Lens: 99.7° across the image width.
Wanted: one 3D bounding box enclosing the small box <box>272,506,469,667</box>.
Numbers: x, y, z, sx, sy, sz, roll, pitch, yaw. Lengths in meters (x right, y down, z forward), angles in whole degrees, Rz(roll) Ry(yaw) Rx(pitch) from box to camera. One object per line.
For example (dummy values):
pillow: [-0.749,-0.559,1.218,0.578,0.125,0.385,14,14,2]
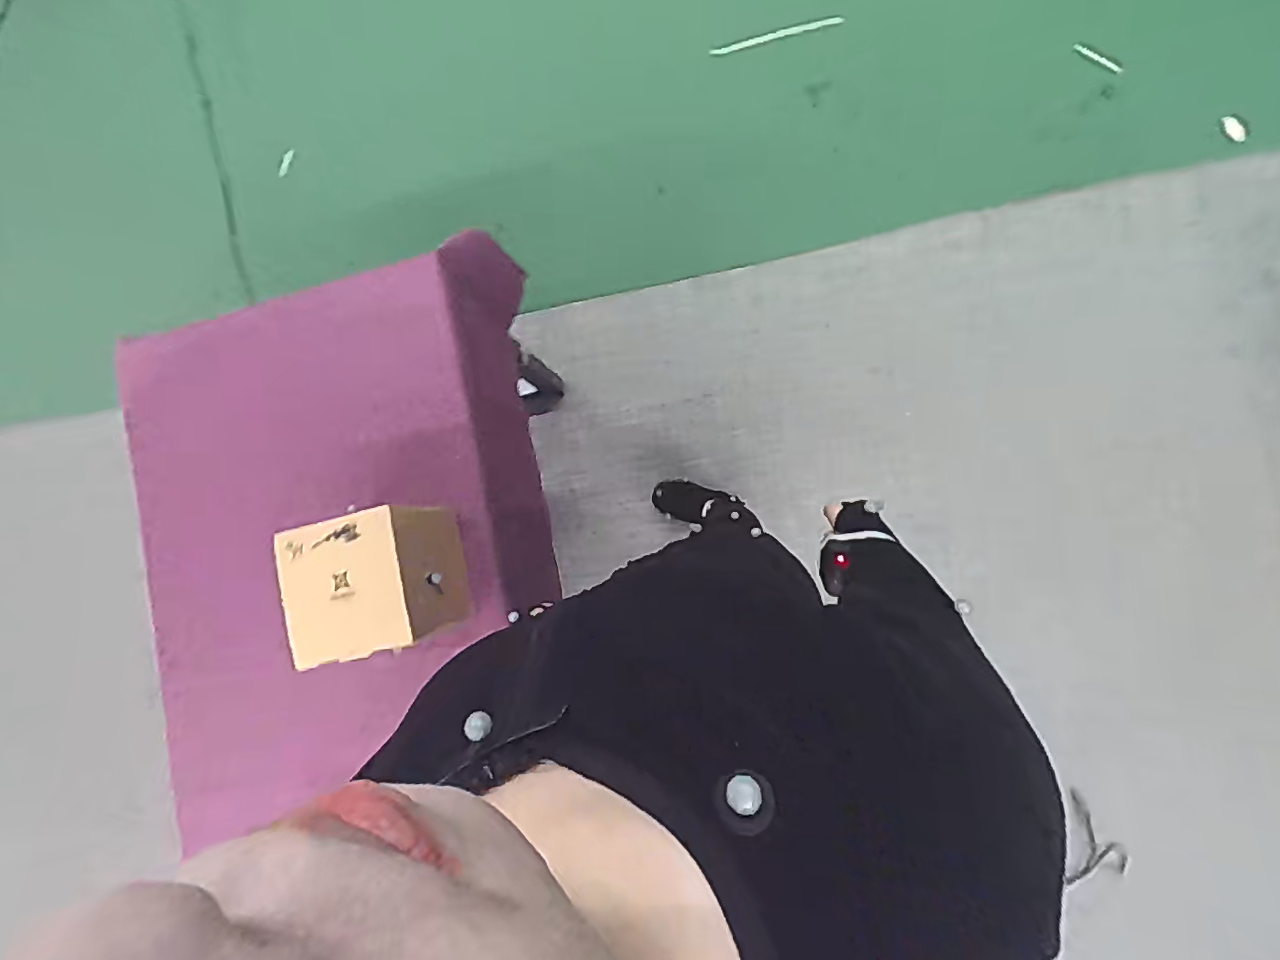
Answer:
small box: [-0.358,0.135,0.747,0.168,0.176,0.179,-14,85,7]
